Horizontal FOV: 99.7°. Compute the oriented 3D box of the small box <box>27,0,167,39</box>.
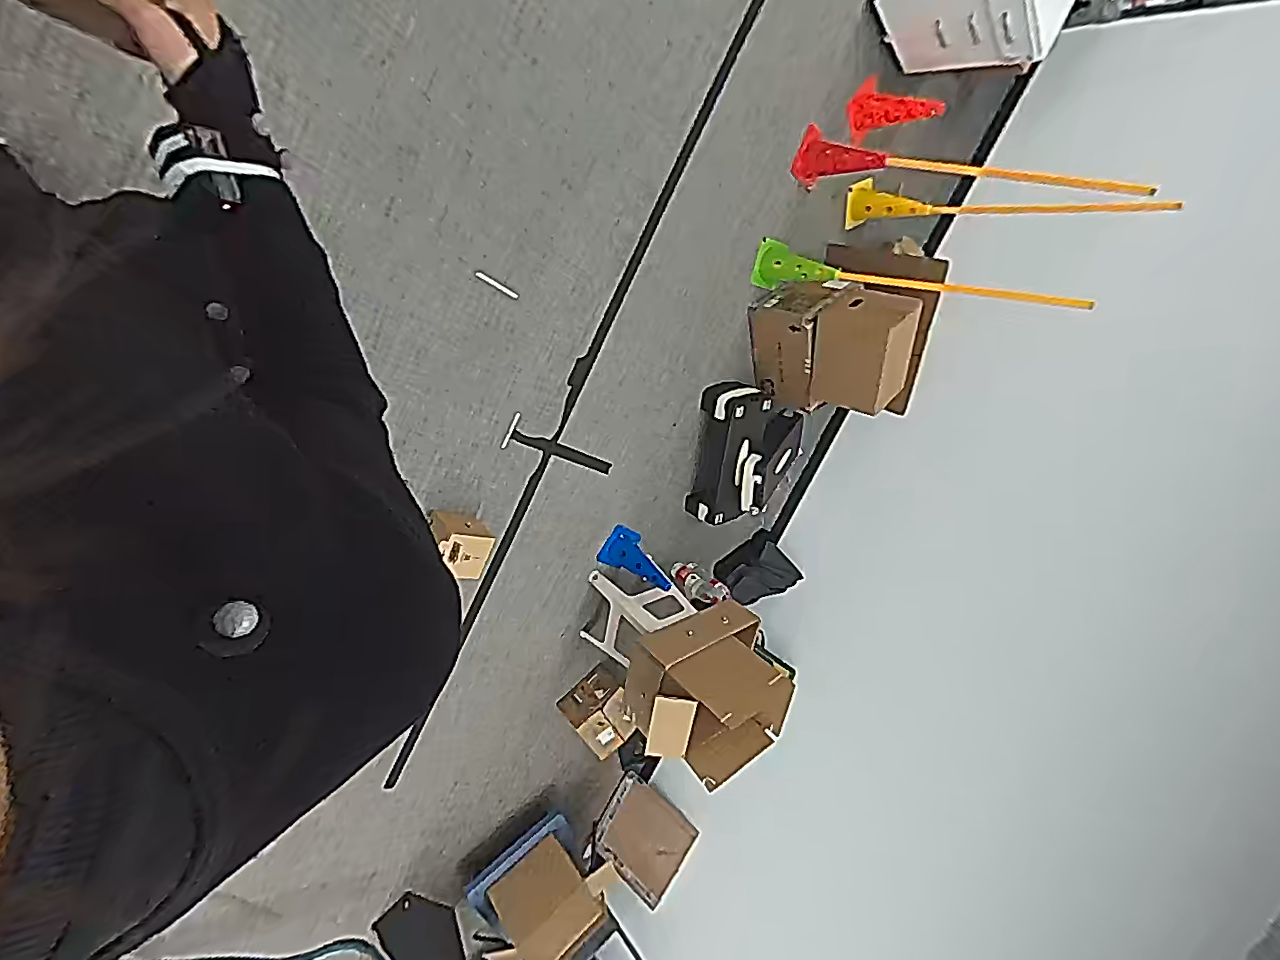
[{"bbox_3d":[-0.466,-0.479,0.399,0.168,0.176,0.179,1,108,-51],"label":"small box"}]

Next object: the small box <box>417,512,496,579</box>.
[{"bbox_3d":[-0.638,0.222,1.863,0.179,0.176,0.168,16,103,-48],"label":"small box"}]
